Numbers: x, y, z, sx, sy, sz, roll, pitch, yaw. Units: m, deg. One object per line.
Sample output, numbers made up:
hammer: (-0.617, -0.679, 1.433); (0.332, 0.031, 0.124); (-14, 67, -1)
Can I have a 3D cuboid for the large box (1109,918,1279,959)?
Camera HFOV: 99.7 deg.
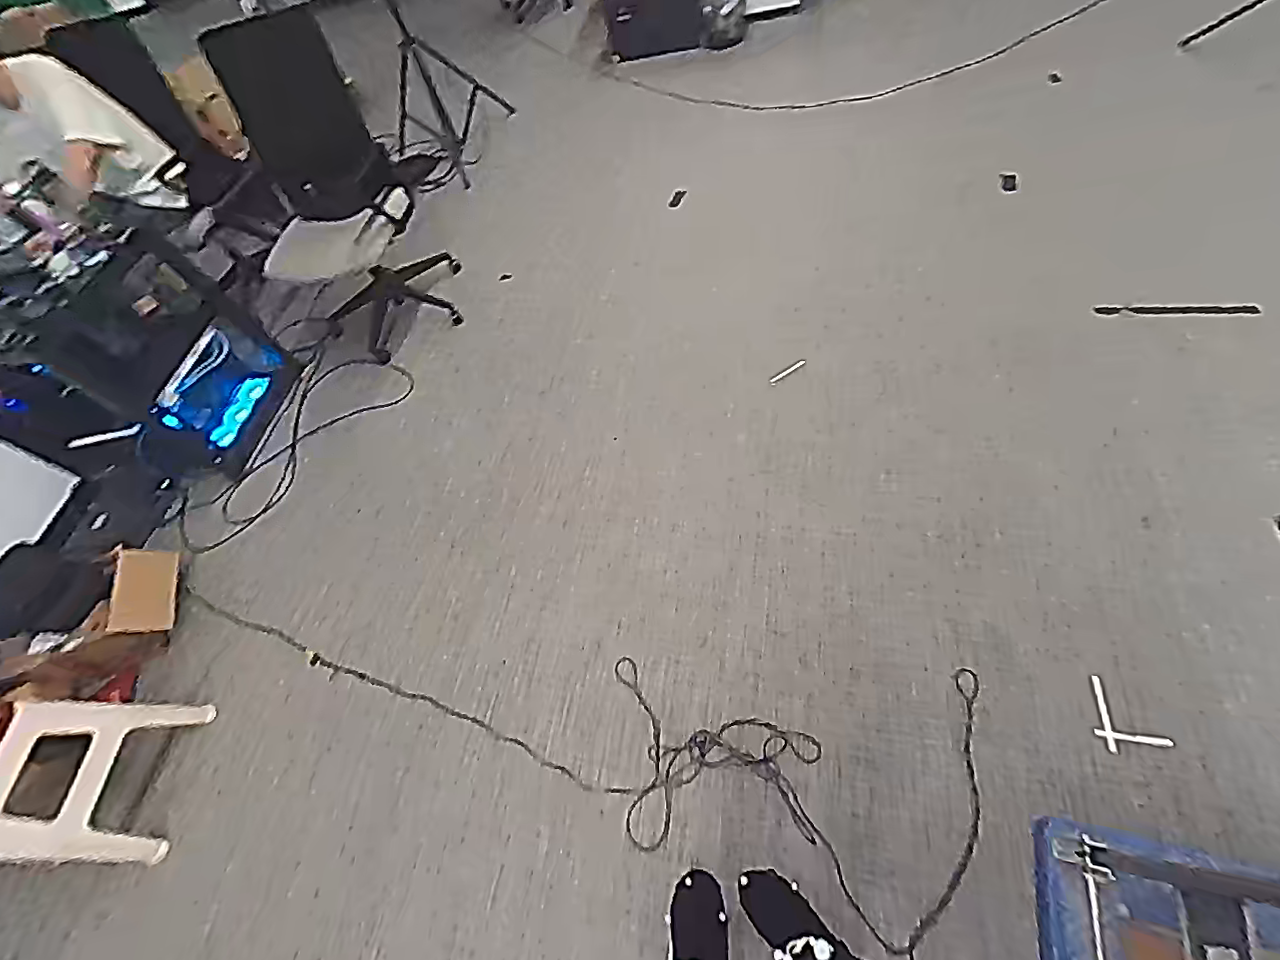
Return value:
large box: (0.861, 0.826, 0.642); (0.320, 0.320, 0.408); (2, 61, 16)
